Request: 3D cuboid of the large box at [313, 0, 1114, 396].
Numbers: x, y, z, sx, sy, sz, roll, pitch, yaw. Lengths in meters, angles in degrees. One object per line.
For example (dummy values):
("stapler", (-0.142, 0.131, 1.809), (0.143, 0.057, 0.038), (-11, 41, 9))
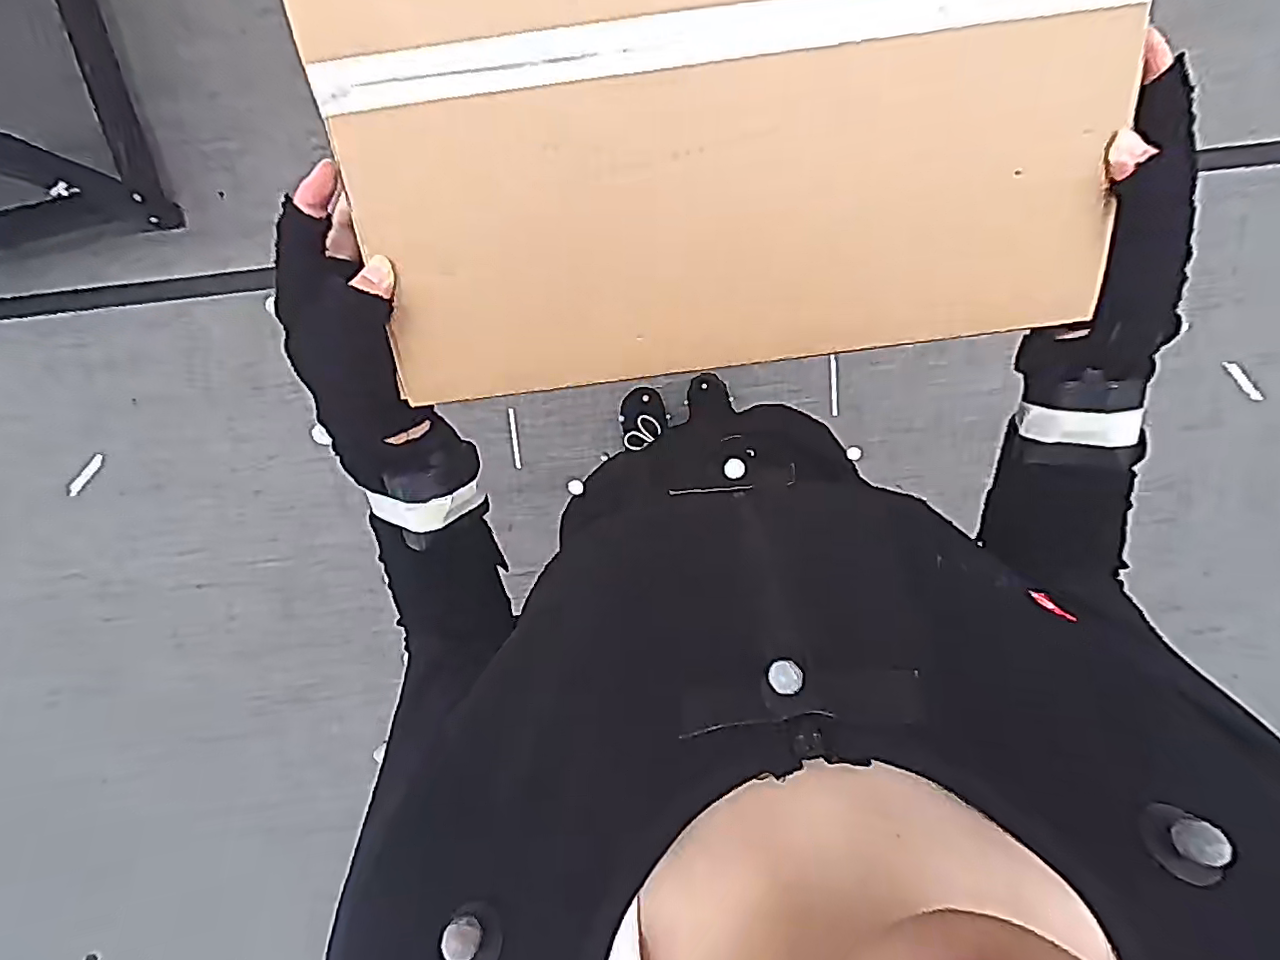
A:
("large box", (0.035, -0.272, 0.414), (0.408, 0.320, 0.320), (-8, 112, 0))
